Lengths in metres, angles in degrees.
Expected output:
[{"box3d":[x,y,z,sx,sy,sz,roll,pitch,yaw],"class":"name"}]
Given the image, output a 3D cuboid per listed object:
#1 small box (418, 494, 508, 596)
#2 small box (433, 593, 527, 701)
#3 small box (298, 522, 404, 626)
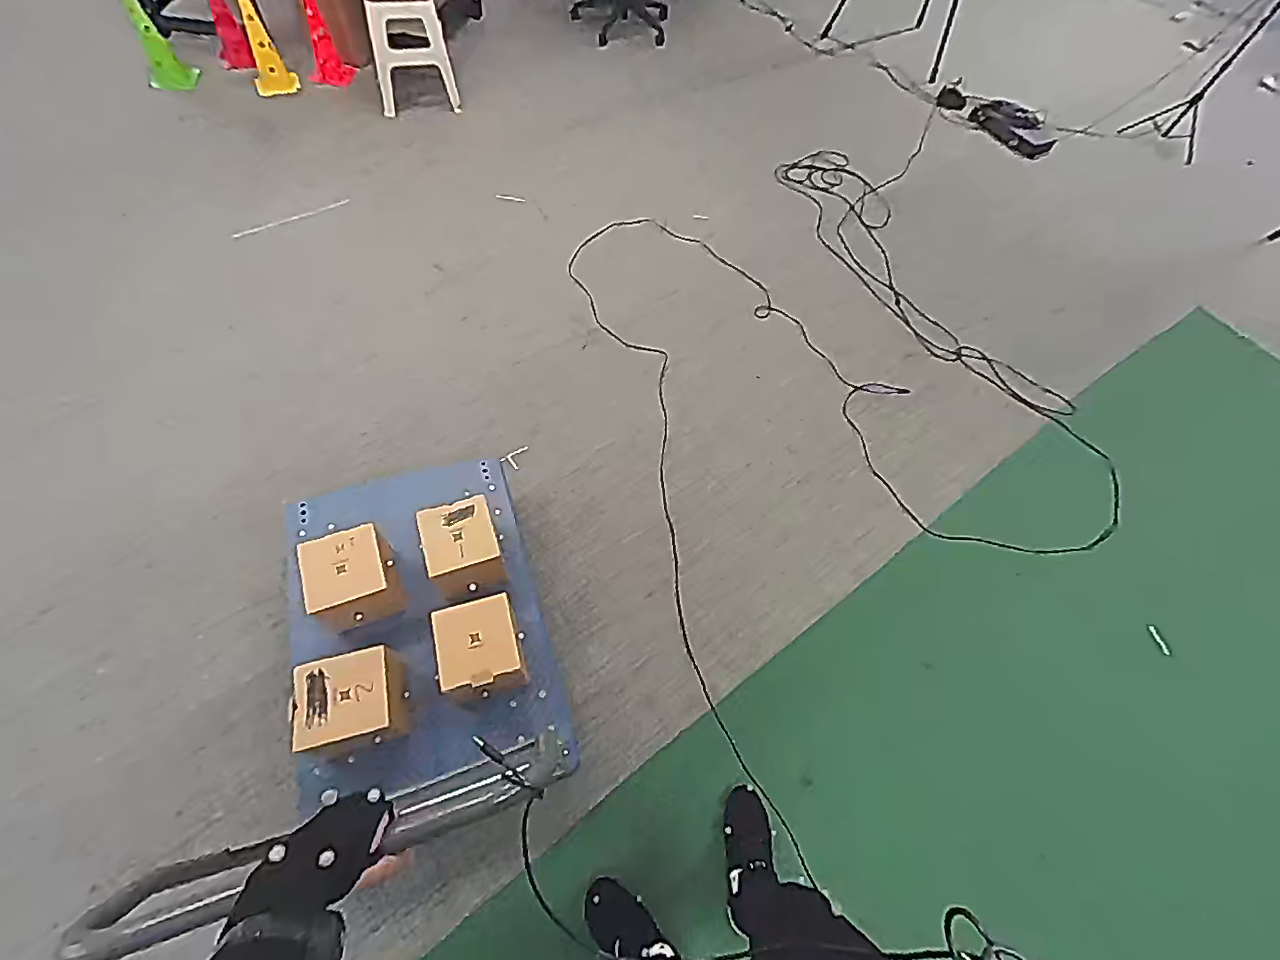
[{"box3d":[-0.434,0.164,1.338,0.168,0.176,0.179,-16,64,-14],"class":"small box"},{"box3d":[-0.359,0.381,1.224,0.168,0.176,0.179,-13,63,-13],"class":"small box"},{"box3d":[-0.673,0.229,1.273,0.168,0.176,0.179,-17,64,-16],"class":"small box"}]
